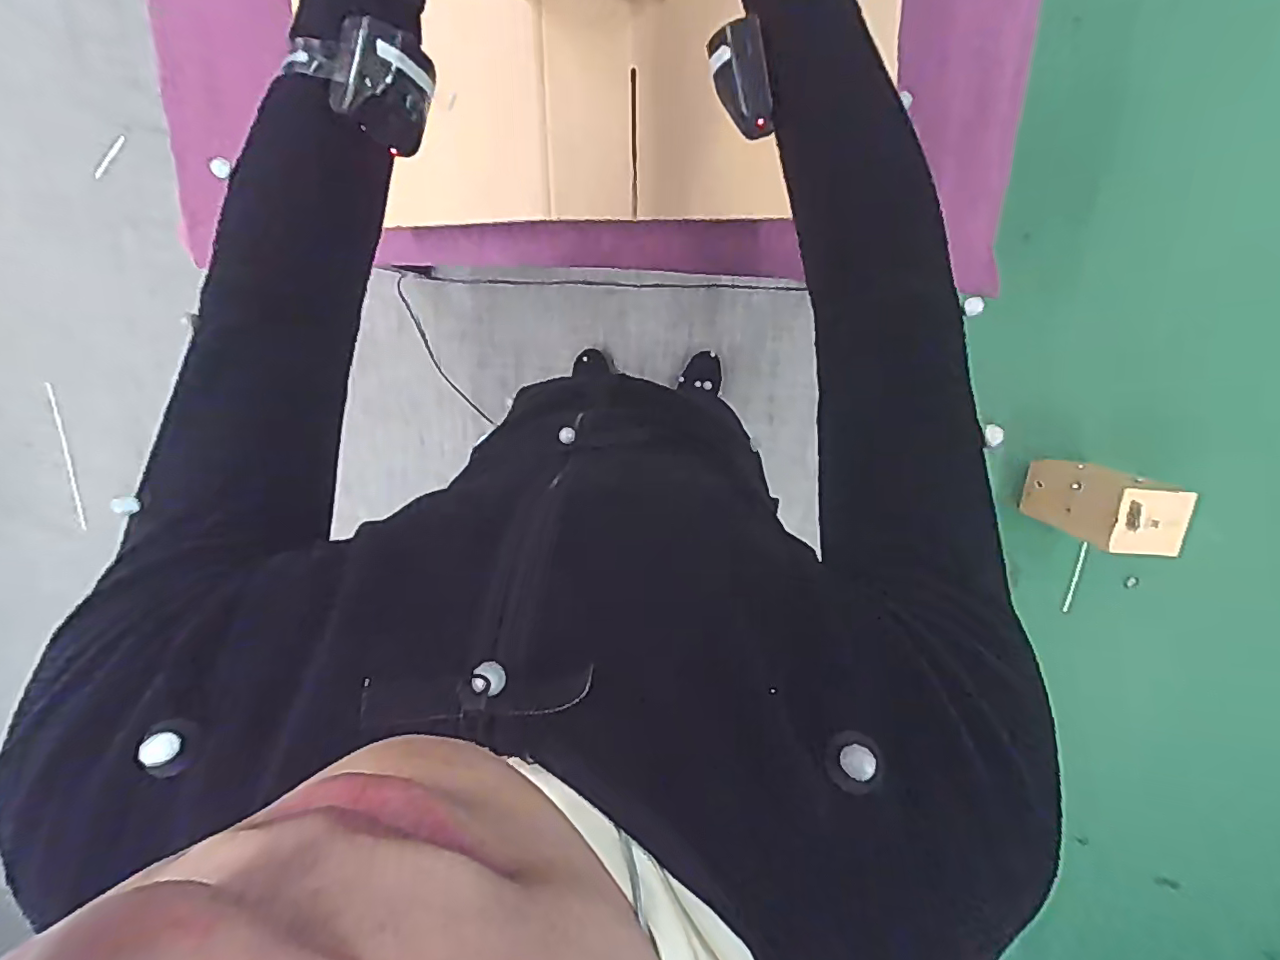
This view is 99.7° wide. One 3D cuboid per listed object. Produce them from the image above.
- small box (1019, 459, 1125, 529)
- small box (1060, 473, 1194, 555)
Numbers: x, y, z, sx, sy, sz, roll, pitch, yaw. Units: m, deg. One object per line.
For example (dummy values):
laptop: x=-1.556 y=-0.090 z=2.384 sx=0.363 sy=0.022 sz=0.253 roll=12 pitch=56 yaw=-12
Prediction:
small box: x=1.240 y=0.040 z=1.547 sx=0.179 sy=0.176 sz=0.168 roll=3 pitch=104 yaw=1
small box: x=1.237 y=0.081 z=1.389 sx=0.179 sy=0.176 sz=0.168 roll=3 pitch=105 yaw=0
